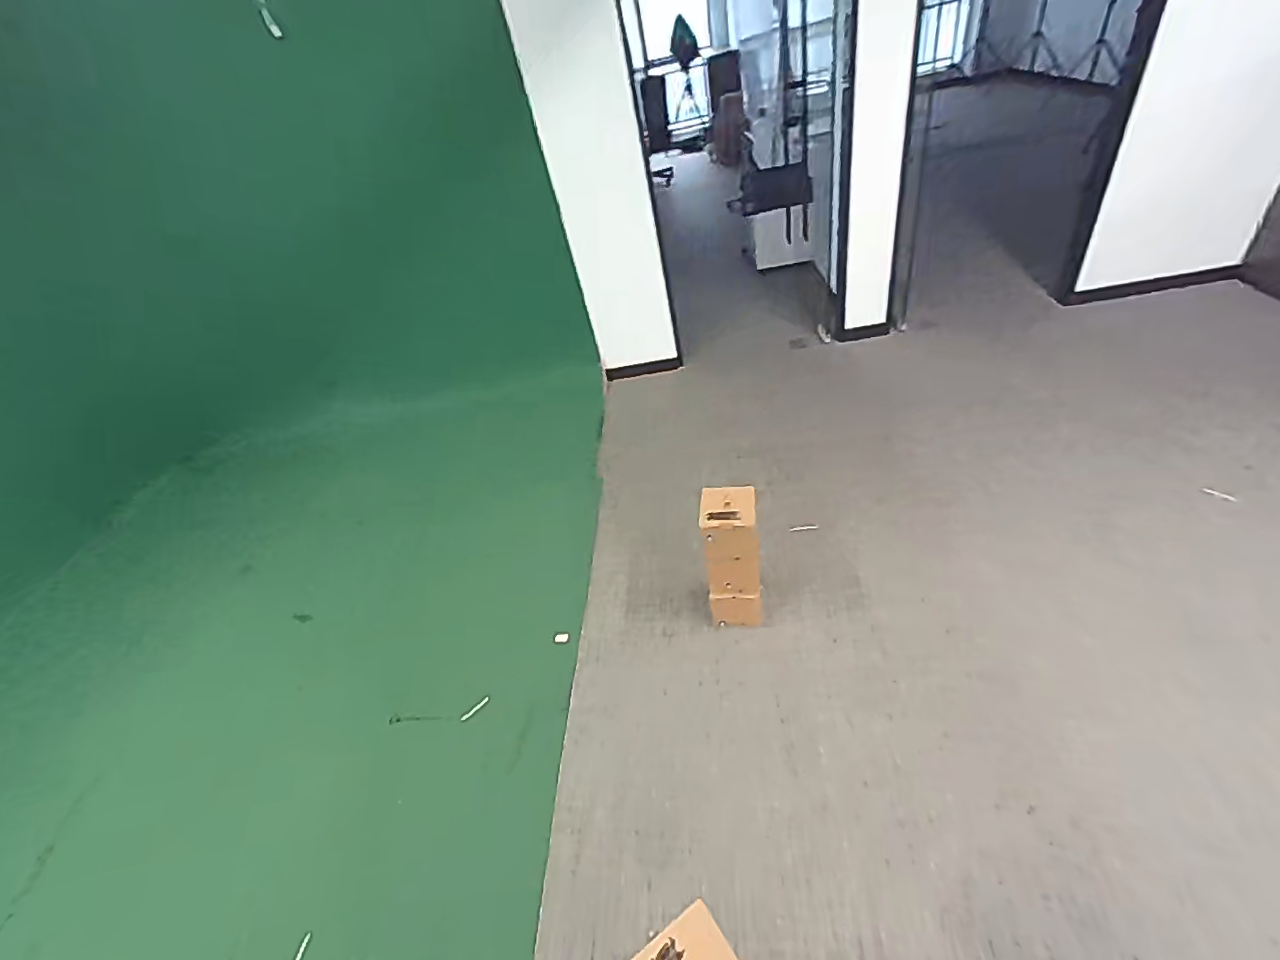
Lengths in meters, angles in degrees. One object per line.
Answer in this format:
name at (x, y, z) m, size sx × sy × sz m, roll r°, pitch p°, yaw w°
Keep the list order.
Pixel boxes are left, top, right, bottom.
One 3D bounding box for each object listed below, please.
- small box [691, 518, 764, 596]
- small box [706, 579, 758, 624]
small box at (0.299, 0.263, 1.819) m, size 0.179 × 0.176 × 0.168 m, roll 21°, pitch 53°, yaw 36°
small box at (0.328, 0.390, 1.902) m, size 0.168 × 0.176 × 0.179 m, roll -3°, pitch 40°, yaw 12°
